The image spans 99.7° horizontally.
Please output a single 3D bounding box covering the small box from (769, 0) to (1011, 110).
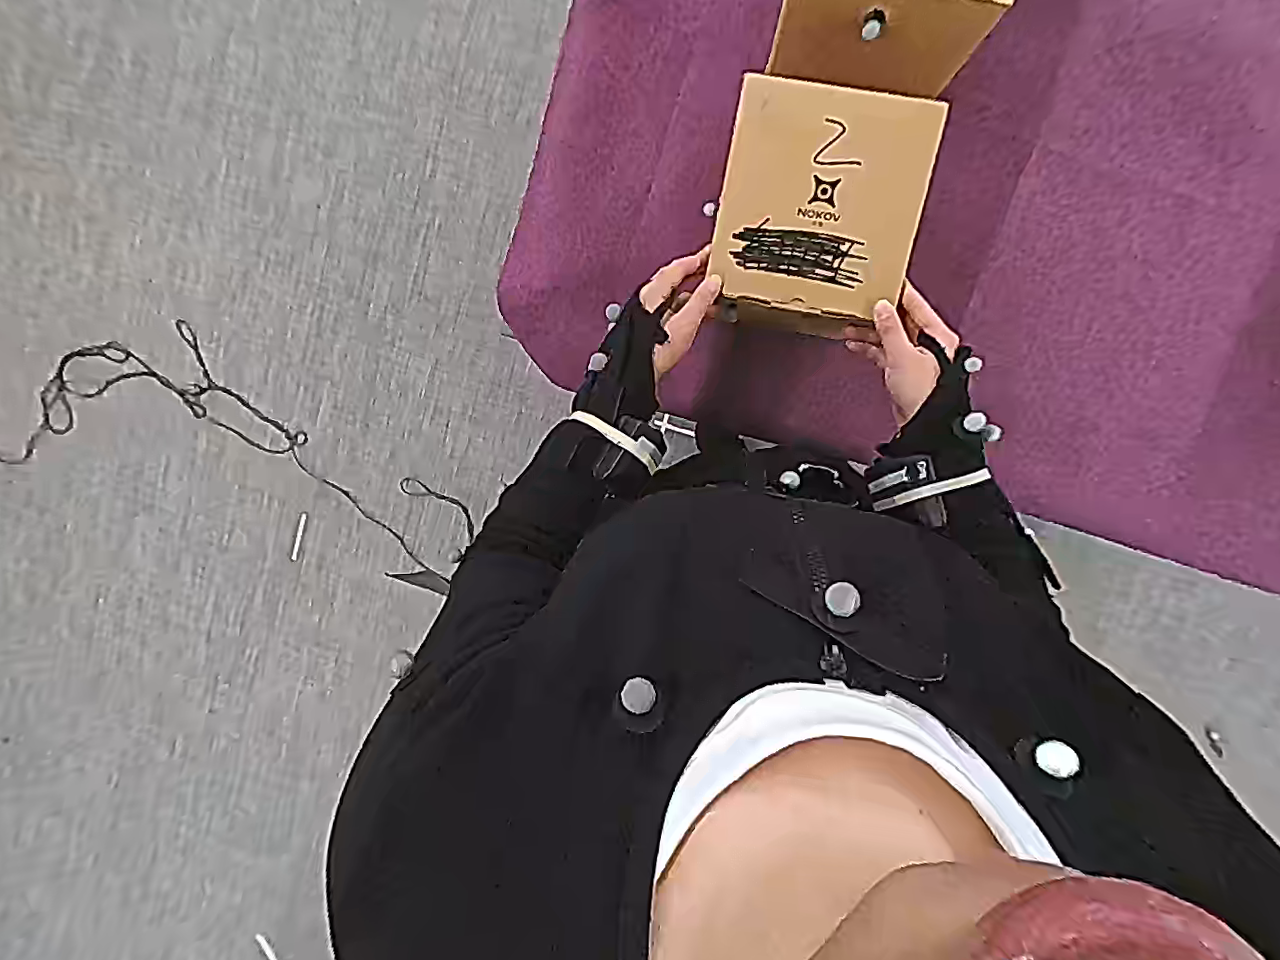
[{"bbox_3d":[0.235,-0.484,0.503,0.179,0.176,0.168,14,97,3],"label":"small box"}]
